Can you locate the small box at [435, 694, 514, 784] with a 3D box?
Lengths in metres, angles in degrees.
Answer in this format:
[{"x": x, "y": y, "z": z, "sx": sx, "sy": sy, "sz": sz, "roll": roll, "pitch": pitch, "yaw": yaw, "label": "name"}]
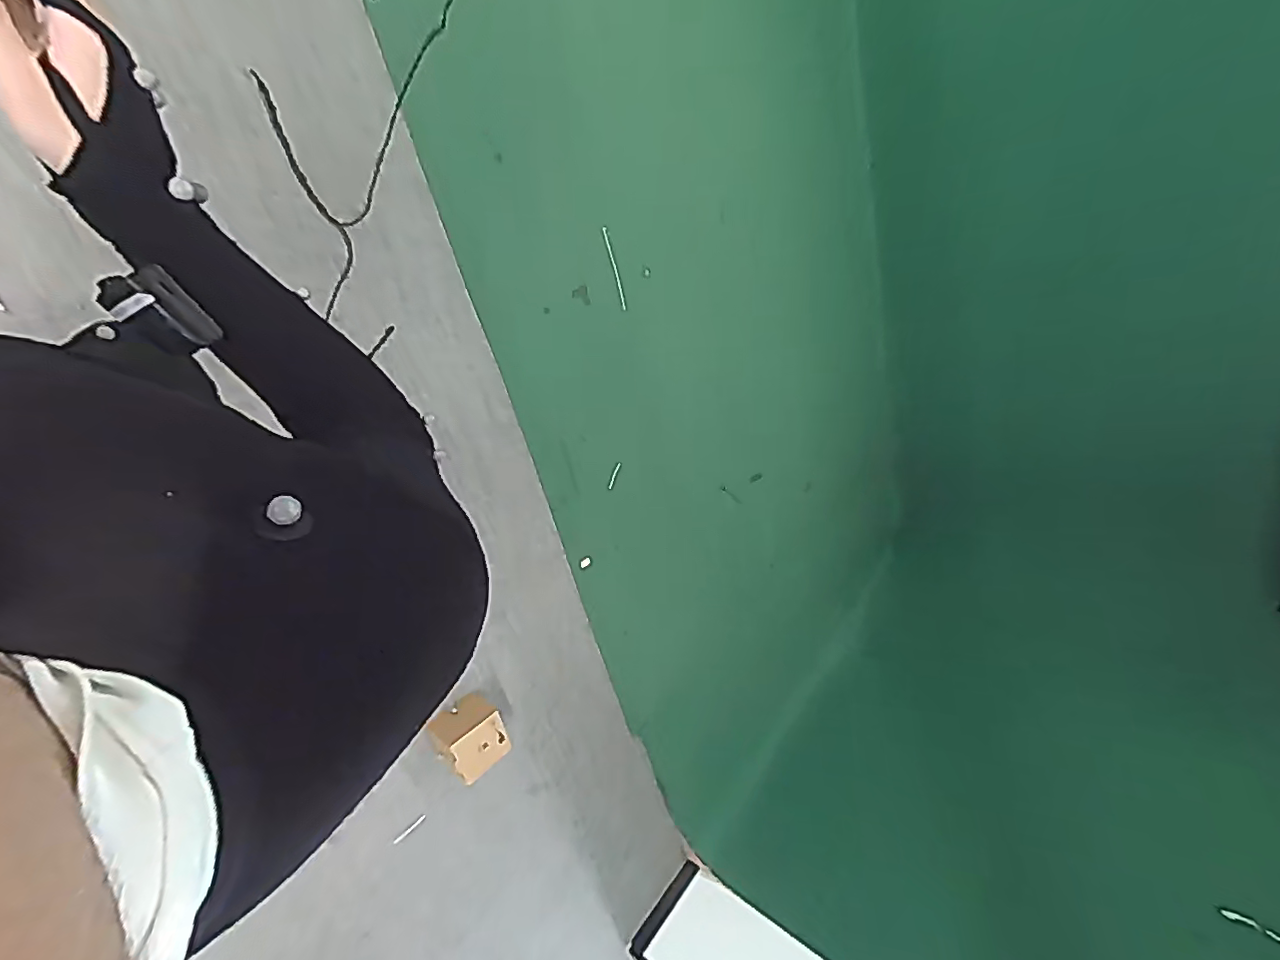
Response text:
[{"x": -0.550, "y": 0.842, "z": 1.775, "sx": 0.179, "sy": 0.176, "sz": 0.168, "roll": -29, "pitch": 115, "yaw": -38, "label": "small box"}]
